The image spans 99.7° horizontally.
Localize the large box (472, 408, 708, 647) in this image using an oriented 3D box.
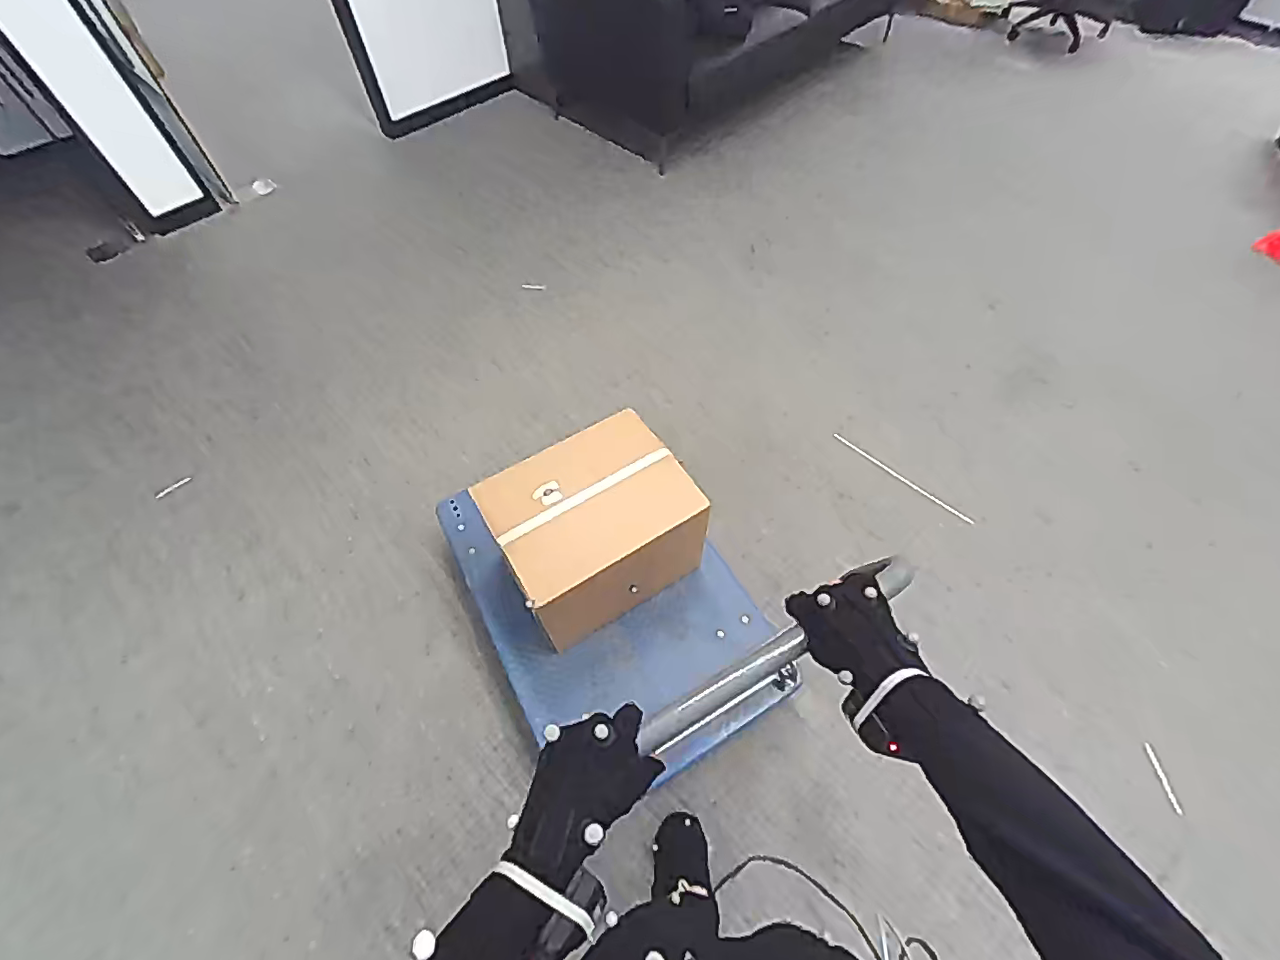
[{"bbox_3d":[-0.102,0.112,1.240,0.408,0.320,0.320,-30,62,-16],"label":"large box"}]
